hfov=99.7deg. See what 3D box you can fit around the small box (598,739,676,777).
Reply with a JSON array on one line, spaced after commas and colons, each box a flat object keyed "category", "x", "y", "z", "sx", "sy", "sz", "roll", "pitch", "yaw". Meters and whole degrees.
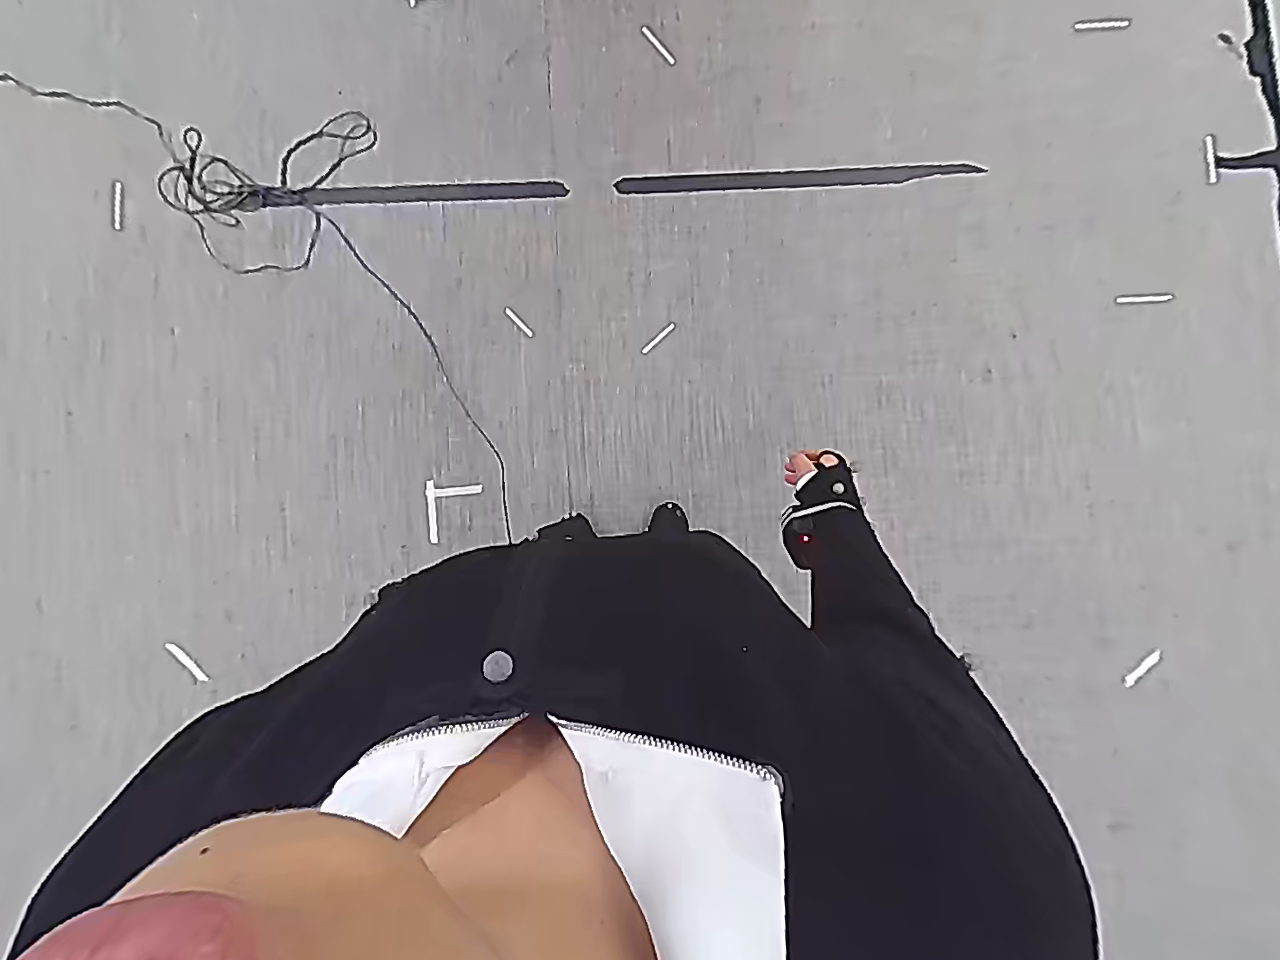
[{"category": "small box", "x": 0.001, "y": 0.677, "z": 1.195, "sx": 0.168, "sy": 0.176, "sz": 0.179, "roll": -5, "pitch": 87, "yaw": 0}]
